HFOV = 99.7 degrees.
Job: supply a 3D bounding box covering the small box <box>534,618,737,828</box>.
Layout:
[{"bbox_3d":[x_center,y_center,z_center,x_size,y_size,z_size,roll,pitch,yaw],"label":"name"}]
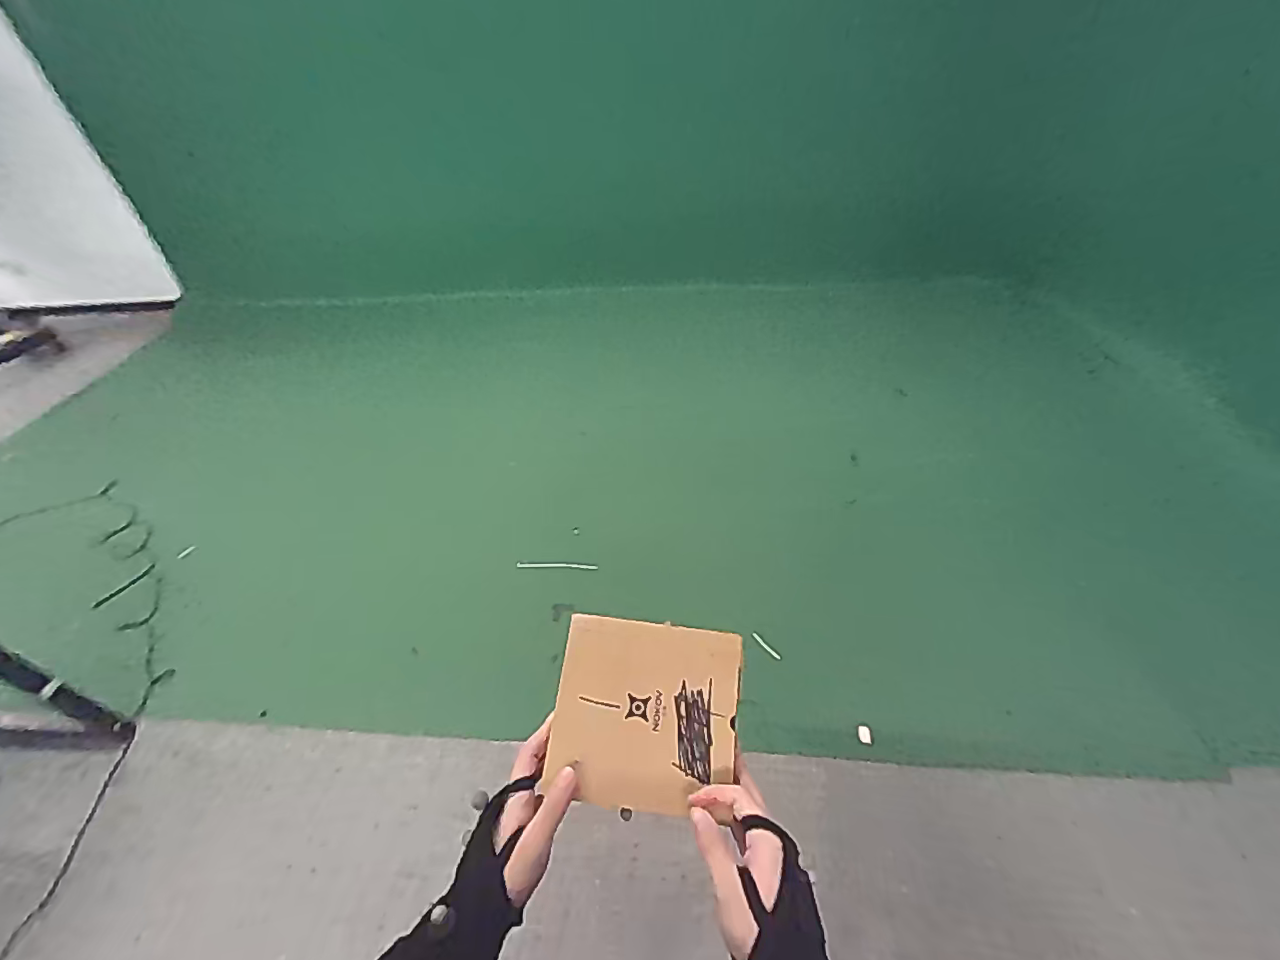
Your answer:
[{"bbox_3d":[0.003,0.258,0.584,0.179,0.176,0.168,6,63,5],"label":"small box"}]
